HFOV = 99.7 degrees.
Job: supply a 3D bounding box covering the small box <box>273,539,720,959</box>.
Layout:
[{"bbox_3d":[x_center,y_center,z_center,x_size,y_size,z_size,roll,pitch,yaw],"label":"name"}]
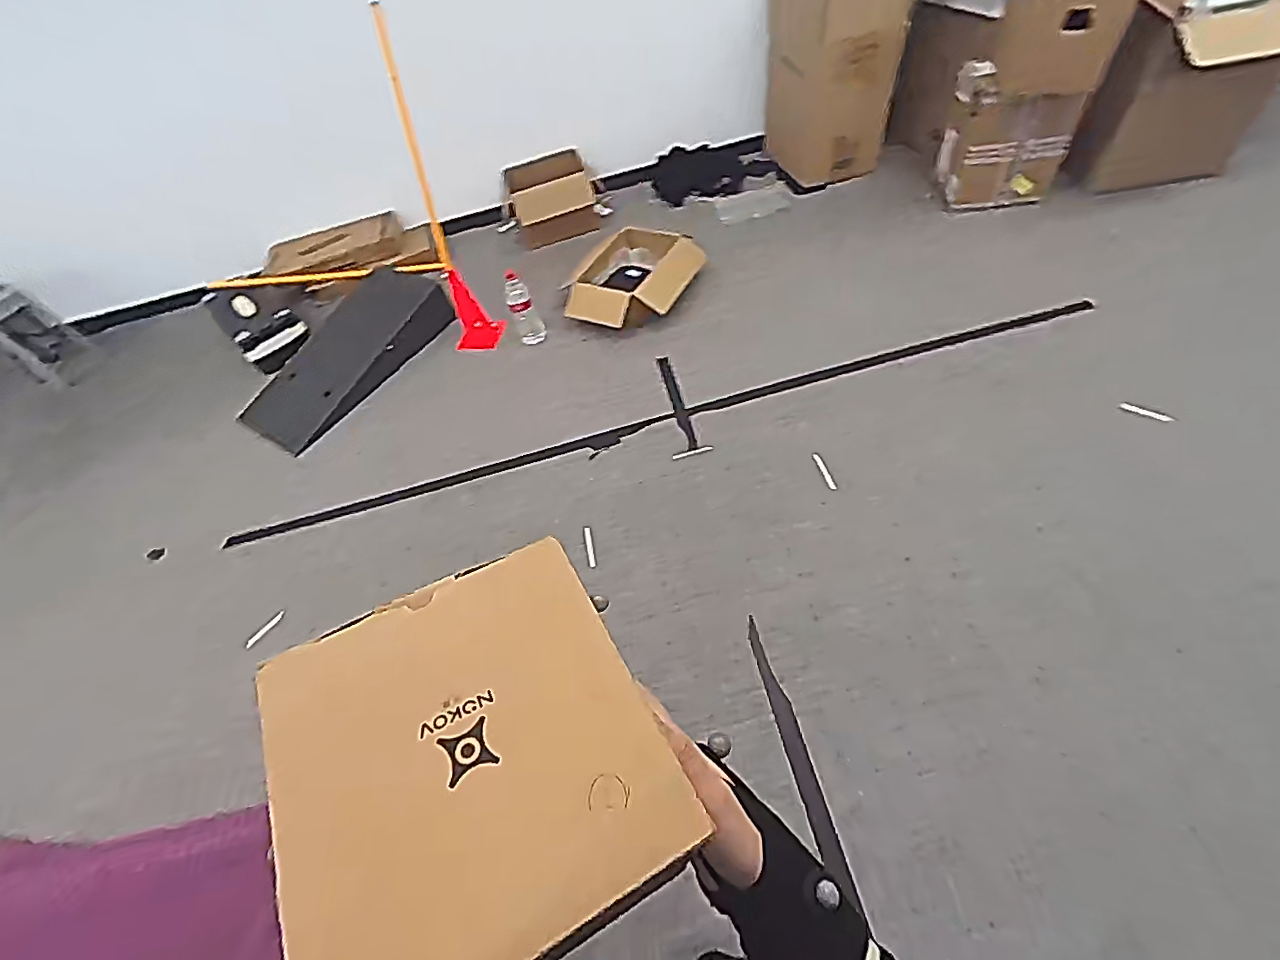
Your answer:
[{"bbox_3d":[-0.074,0.173,0.312,0.168,0.176,0.179,-23,53,-18],"label":"small box"}]
